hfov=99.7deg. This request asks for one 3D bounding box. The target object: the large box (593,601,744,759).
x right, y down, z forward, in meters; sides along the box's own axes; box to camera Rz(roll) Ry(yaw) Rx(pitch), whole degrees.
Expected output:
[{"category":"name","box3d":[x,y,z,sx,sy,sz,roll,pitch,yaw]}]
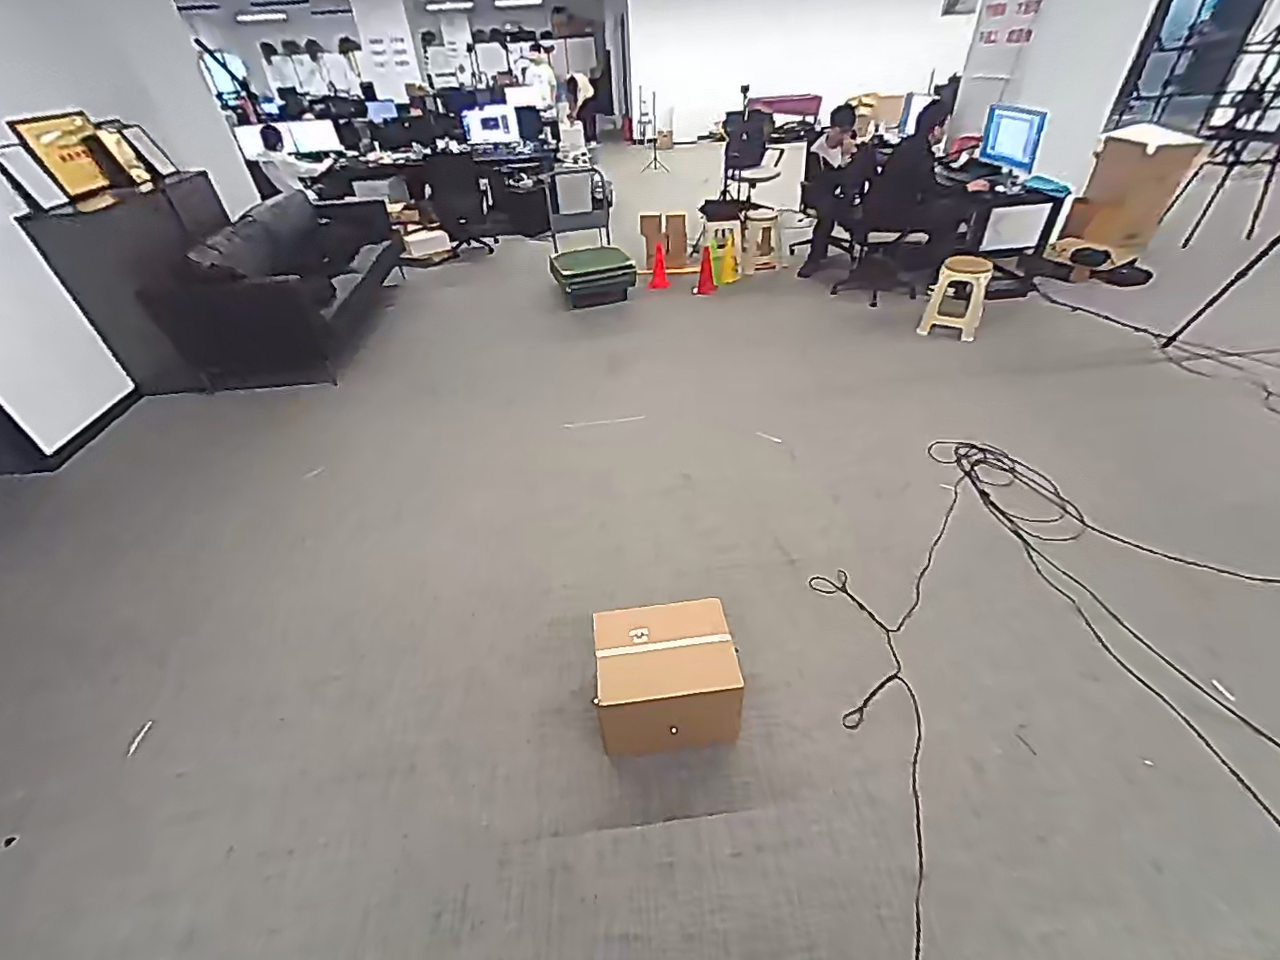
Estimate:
[{"category":"large box","box3d":[0.081,0.620,1.682,0.408,0.320,0.320,-8,38,-3]}]
